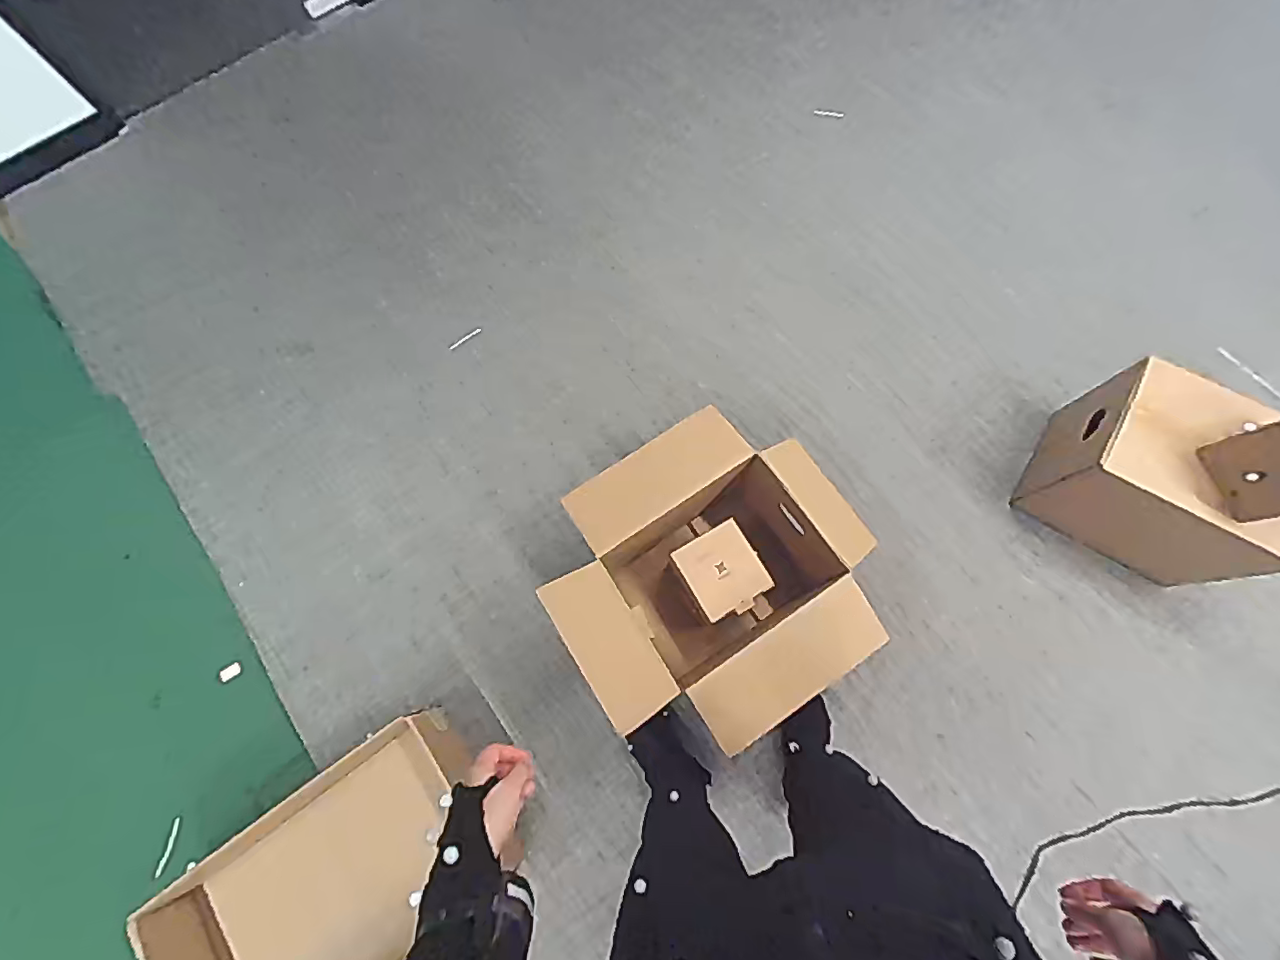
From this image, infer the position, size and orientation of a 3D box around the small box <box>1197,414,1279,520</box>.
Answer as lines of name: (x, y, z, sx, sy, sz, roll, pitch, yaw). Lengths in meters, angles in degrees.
small box: (1.229, -0.036, 1.021, 0.179, 0.176, 0.168, -17, 74, -2)
